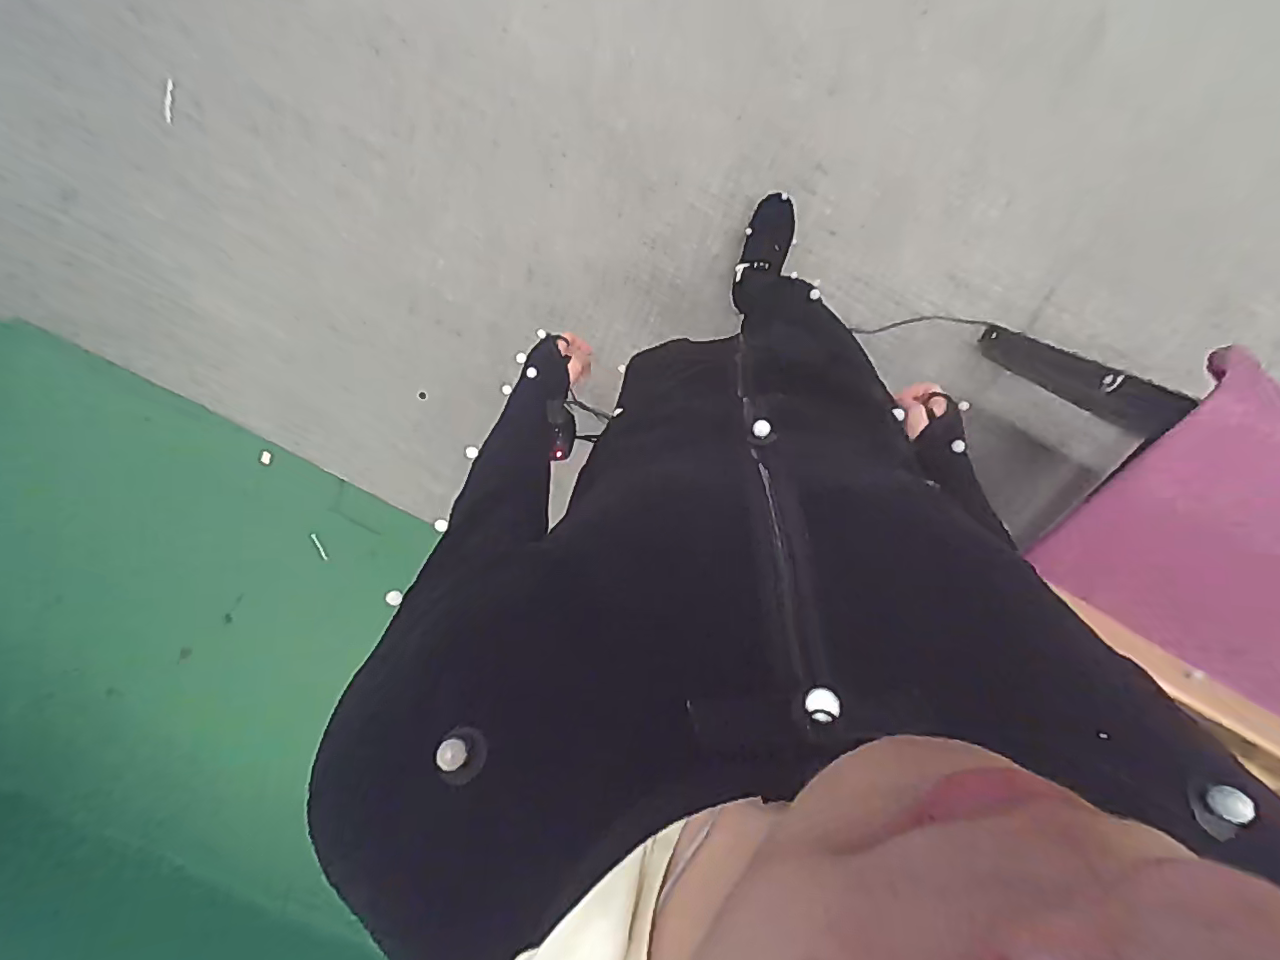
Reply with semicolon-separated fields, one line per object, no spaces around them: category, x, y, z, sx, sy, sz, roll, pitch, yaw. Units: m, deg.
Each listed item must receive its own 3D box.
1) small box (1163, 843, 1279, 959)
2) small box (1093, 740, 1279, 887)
small box;0.893;0.635;0.734;0.179;0.176;0.168;27;117;-3
small box;0.914;0.564;0.880;0.179;0.176;0.168;28;117;-2
